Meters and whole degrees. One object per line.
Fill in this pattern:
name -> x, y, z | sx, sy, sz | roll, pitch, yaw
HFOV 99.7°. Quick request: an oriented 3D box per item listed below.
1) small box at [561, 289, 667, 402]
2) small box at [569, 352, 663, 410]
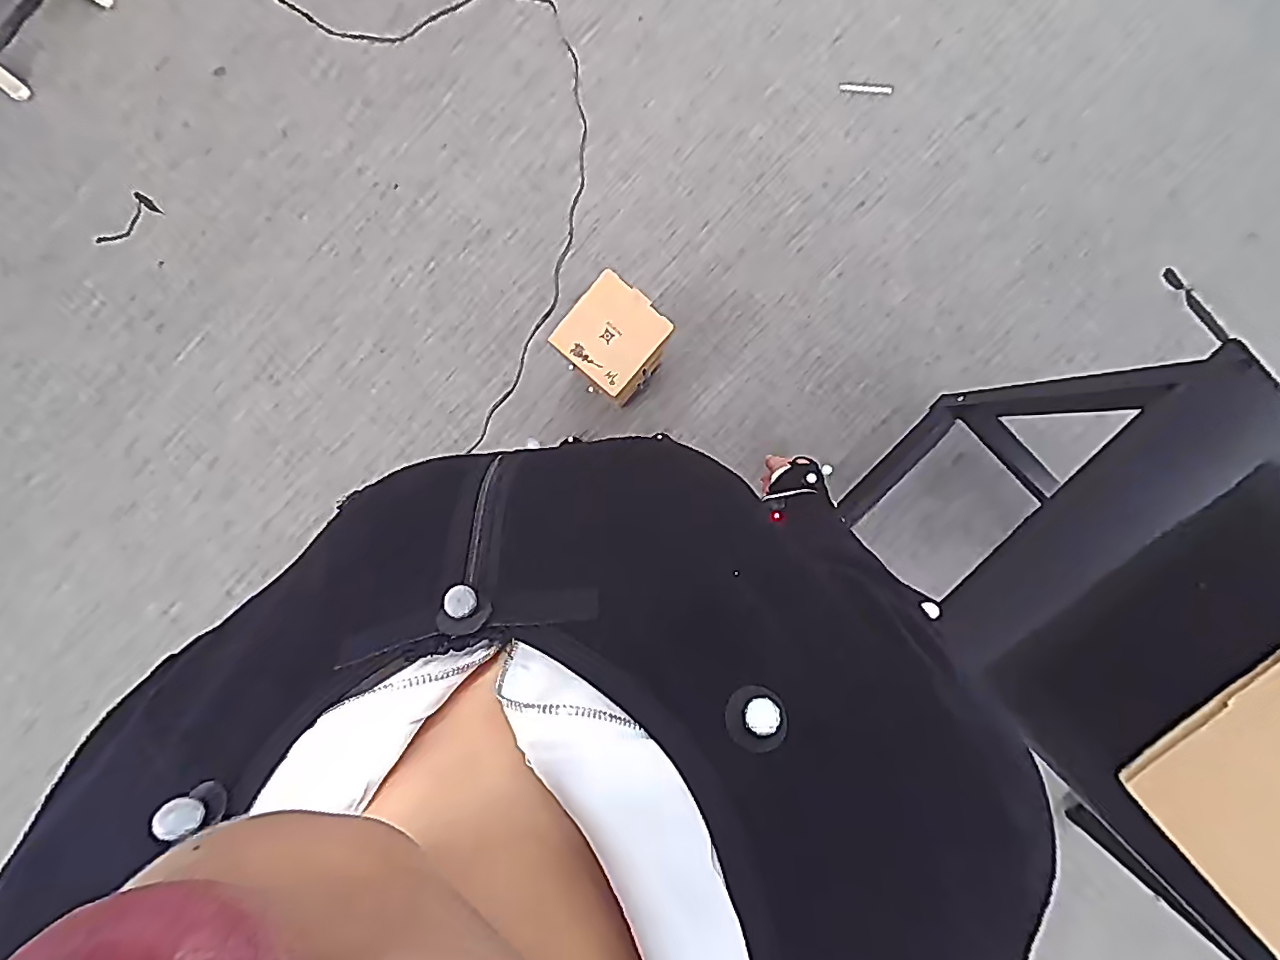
small box -> -0.057, -0.295, 1.238 | 0.168, 0.176, 0.179 | 38, 91, -4
small box -> -0.060, -0.300, 1.400 | 0.168, 0.176, 0.179 | 41, 93, -3
